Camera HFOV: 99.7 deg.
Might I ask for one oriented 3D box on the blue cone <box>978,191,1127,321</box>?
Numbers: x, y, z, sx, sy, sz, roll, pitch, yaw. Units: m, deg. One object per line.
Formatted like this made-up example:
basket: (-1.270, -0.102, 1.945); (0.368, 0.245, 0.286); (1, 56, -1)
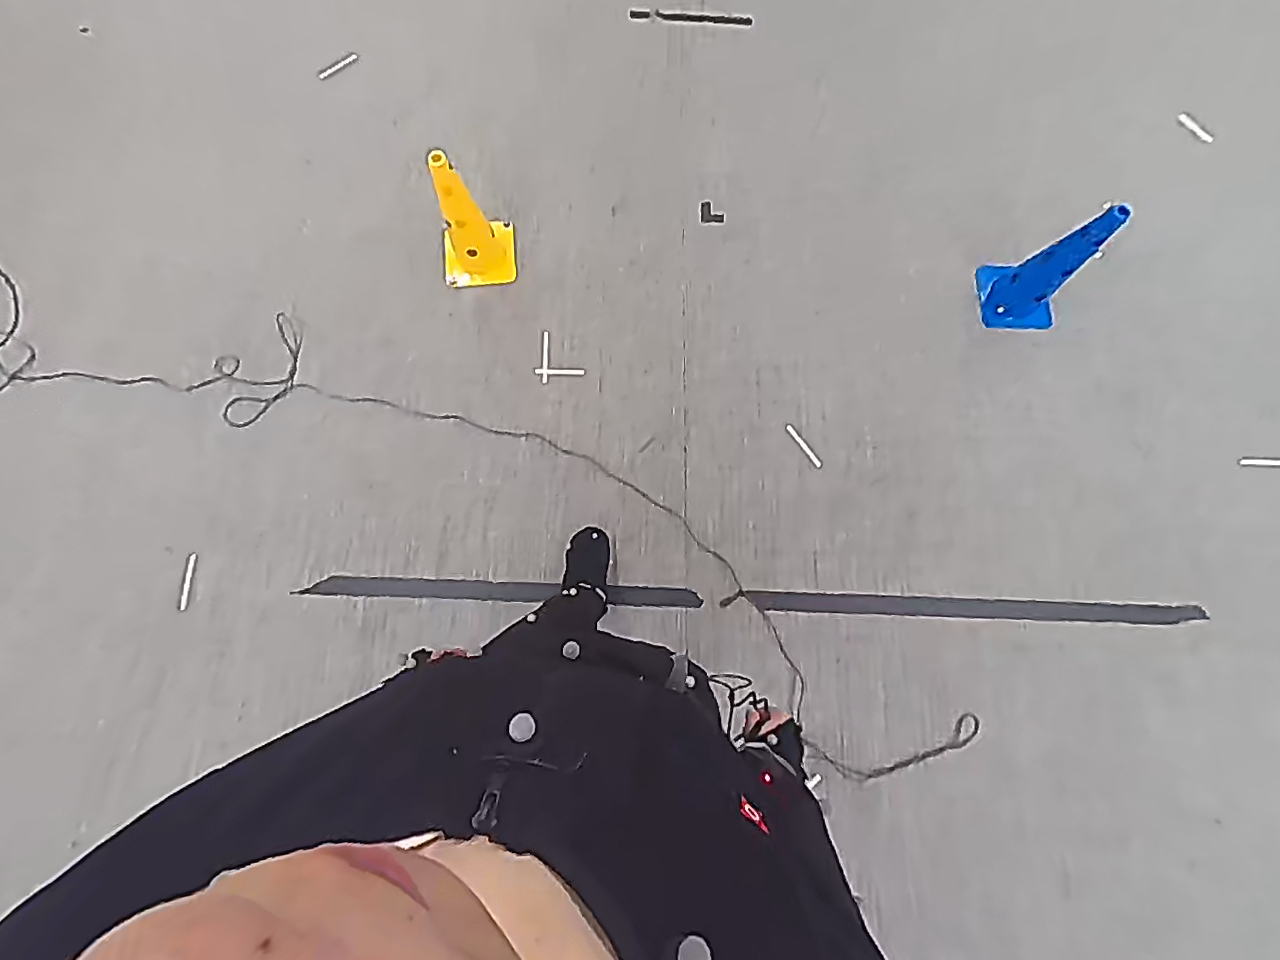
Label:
blue cone: (1.076, -0.581, 1.390); (0.193, 0.380, 0.192); (2, 77, 0)
